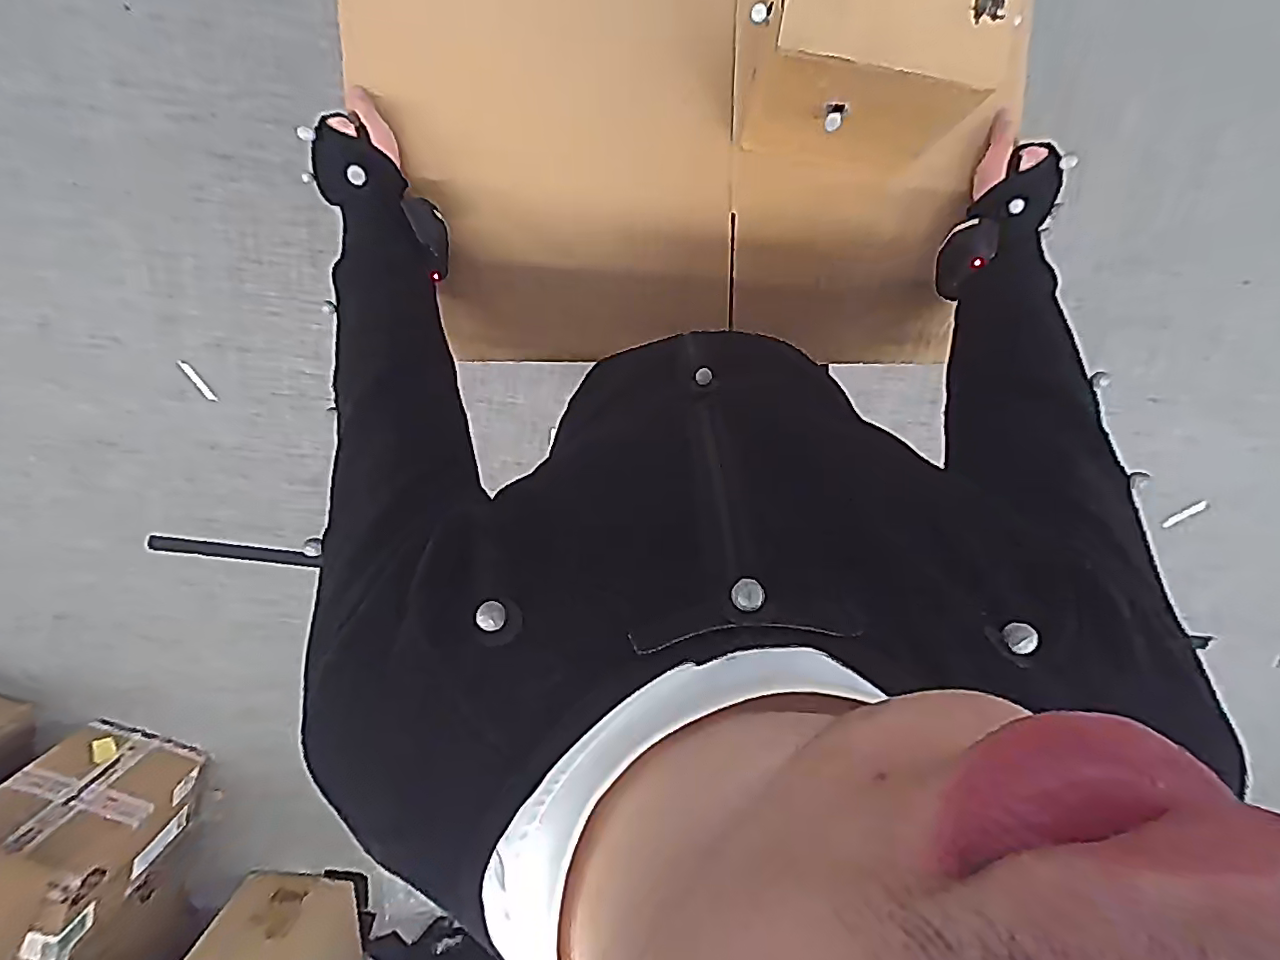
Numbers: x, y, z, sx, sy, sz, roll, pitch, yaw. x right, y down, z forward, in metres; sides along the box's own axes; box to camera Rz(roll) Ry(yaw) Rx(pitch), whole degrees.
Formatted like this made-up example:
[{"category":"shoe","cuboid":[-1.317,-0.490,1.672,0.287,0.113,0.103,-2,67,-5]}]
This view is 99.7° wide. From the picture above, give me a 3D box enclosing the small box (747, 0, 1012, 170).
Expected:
[{"category":"small box","cuboid":[0.204,-0.408,0.487,0.179,0.176,0.168,10,99,1]}]
